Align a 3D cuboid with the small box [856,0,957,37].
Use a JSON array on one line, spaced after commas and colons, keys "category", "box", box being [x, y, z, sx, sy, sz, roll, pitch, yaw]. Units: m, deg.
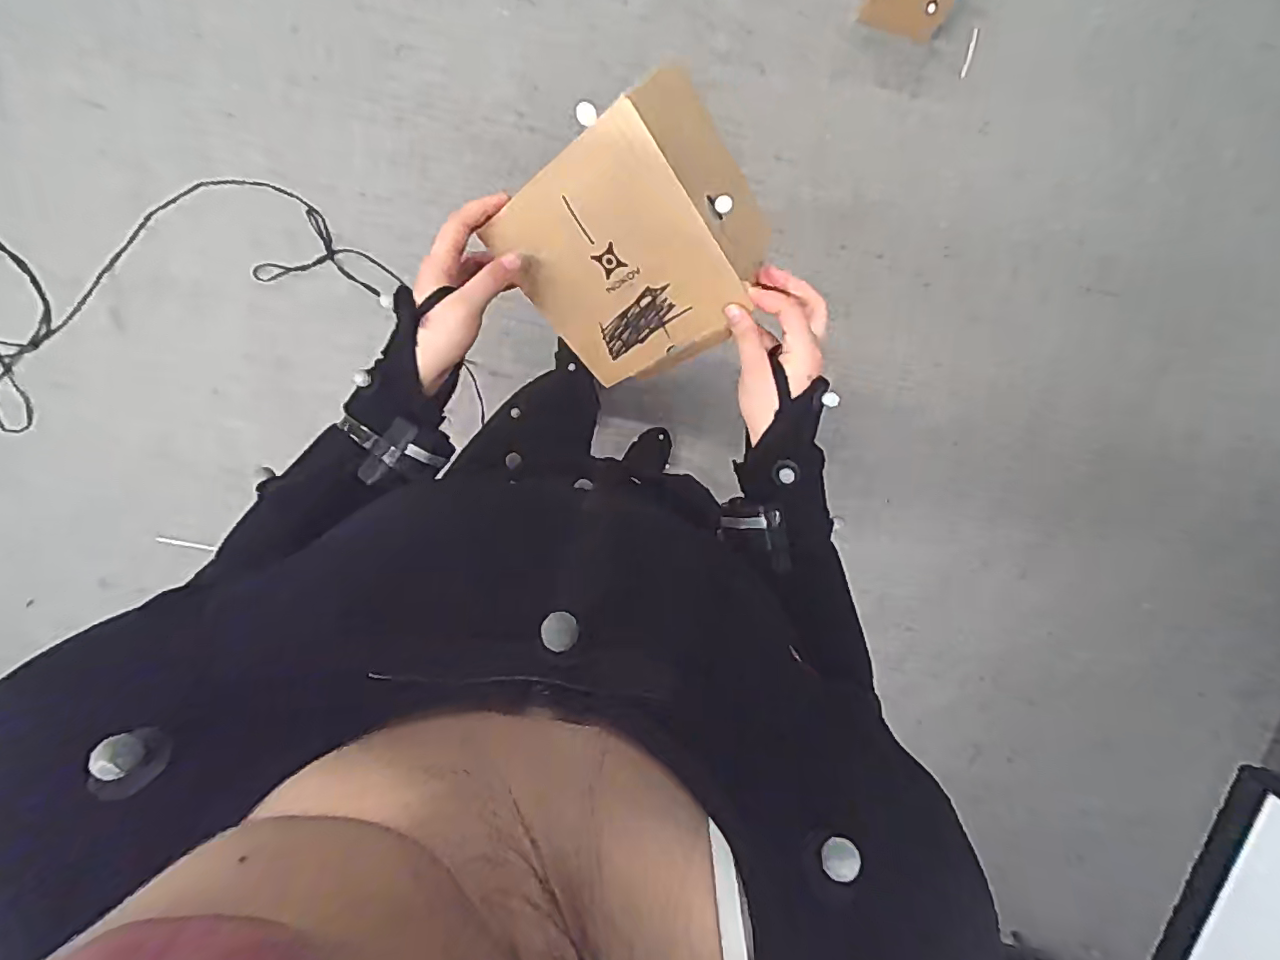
[{"category": "small box", "box": [0.611, -1.124, 1.182, 0.179, 0.176, 0.168, 17, 100, -3]}]
